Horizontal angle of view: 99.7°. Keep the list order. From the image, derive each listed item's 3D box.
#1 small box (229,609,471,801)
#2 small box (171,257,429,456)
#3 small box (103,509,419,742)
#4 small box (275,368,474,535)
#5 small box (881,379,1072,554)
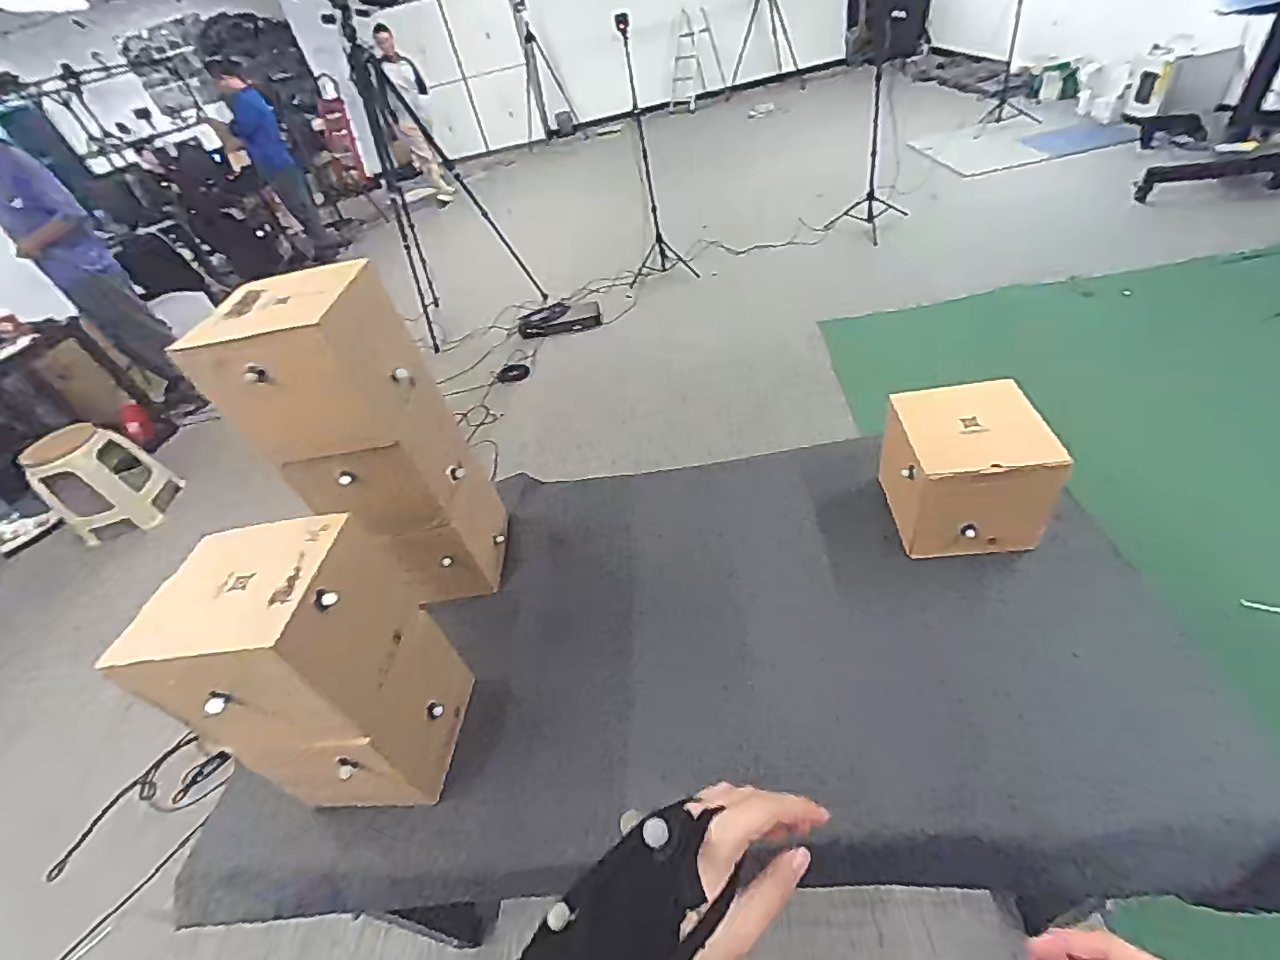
[{"bbox_3d":[-0.336,0.281,0.673,0.179,0.176,0.168,-6,40,9],"label":"small box"},{"bbox_3d":[-0.394,-0.147,0.667,0.179,0.176,0.168,-8,44,6],"label":"small box"},{"bbox_3d":[-0.371,0.157,0.571,0.179,0.176,0.168,-9,40,7],"label":"small box"},{"bbox_3d":[-0.367,-0.036,0.786,0.179,0.176,0.168,-9,44,4],"label":"small box"},{"bbox_3d":[0.454,-0.017,0.768,0.168,0.176,0.179,-6,44,10],"label":"small box"}]
